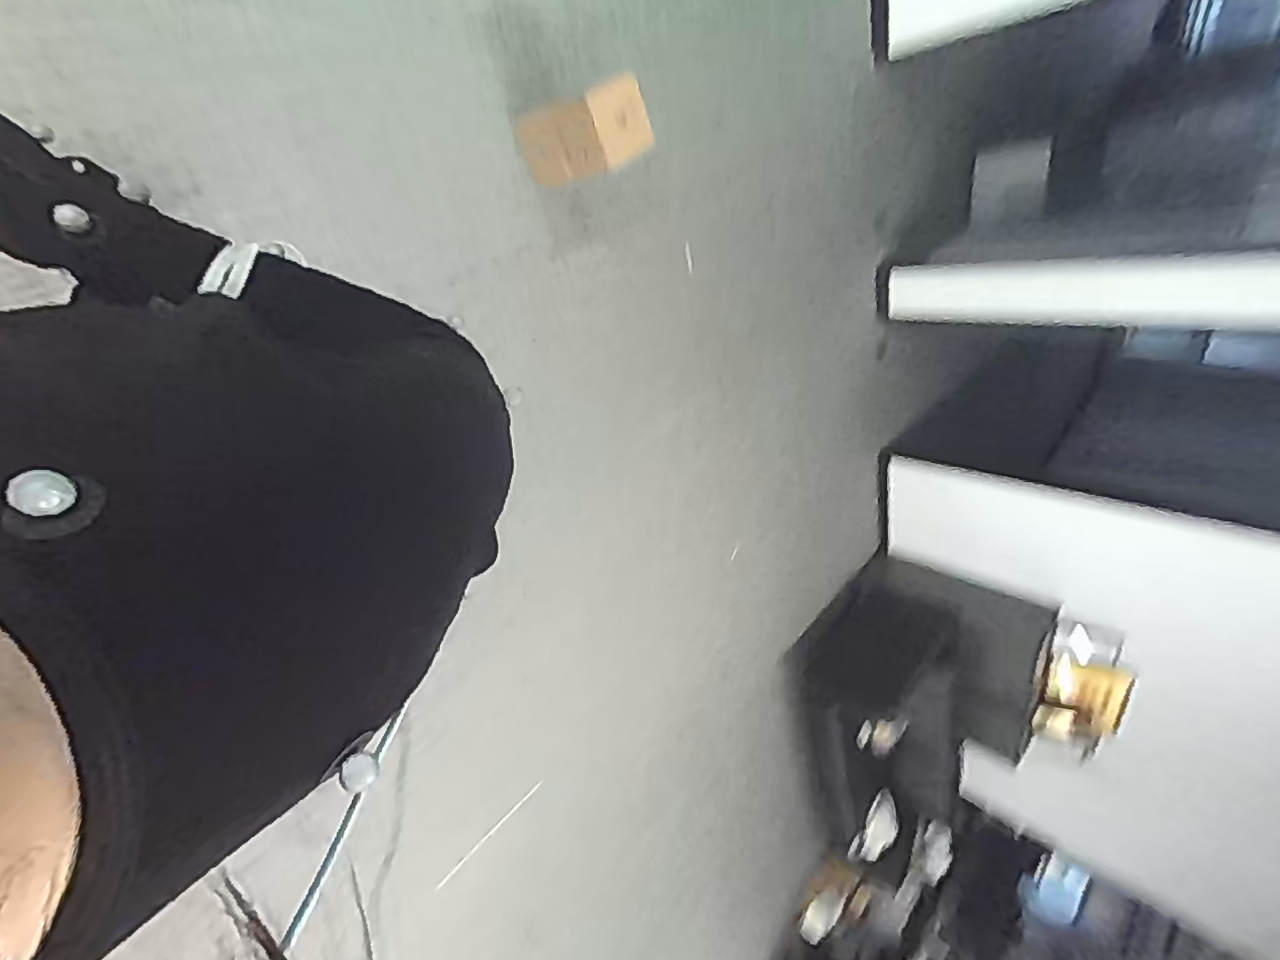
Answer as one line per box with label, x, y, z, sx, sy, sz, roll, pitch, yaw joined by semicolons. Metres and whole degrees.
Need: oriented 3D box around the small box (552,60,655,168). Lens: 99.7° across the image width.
small box;-0.098;-0.911;1.360;0.179;0.176;0.168;-45;131;-24
